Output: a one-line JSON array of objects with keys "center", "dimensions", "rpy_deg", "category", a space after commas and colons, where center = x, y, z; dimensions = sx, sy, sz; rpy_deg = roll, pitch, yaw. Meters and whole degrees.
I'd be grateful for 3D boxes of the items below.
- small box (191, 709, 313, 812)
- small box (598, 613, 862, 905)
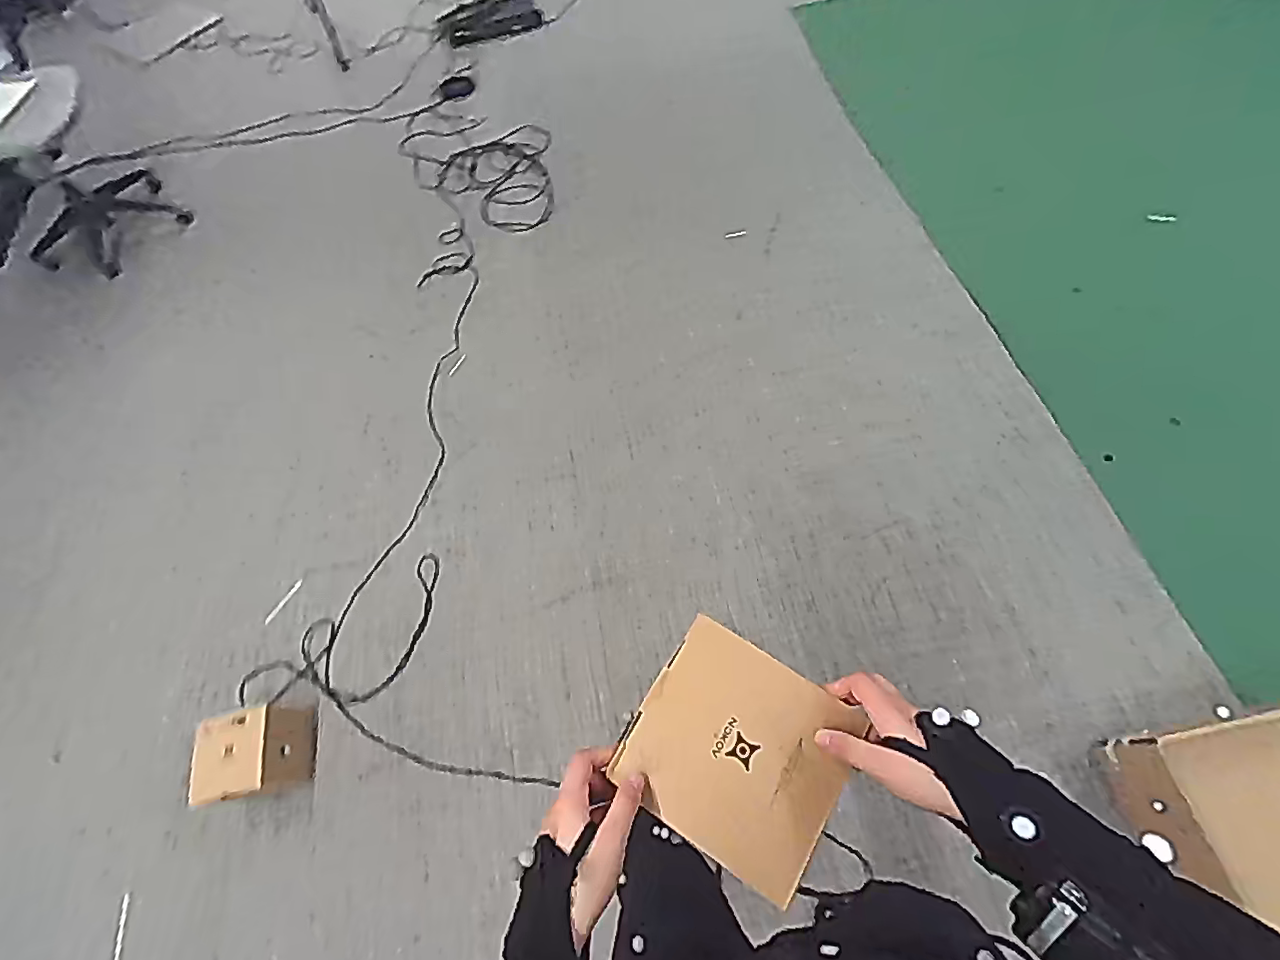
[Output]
[{"center": [-0.902, 0.653, 1.273], "dimensions": [0.168, 0.176, 0.179], "rpy_deg": [-16, 64, -1], "category": "small box"}, {"center": [0.080, 0.258, 0.538], "dimensions": [0.179, 0.176, 0.168], "rpy_deg": [30, 74, 12], "category": "small box"}]
